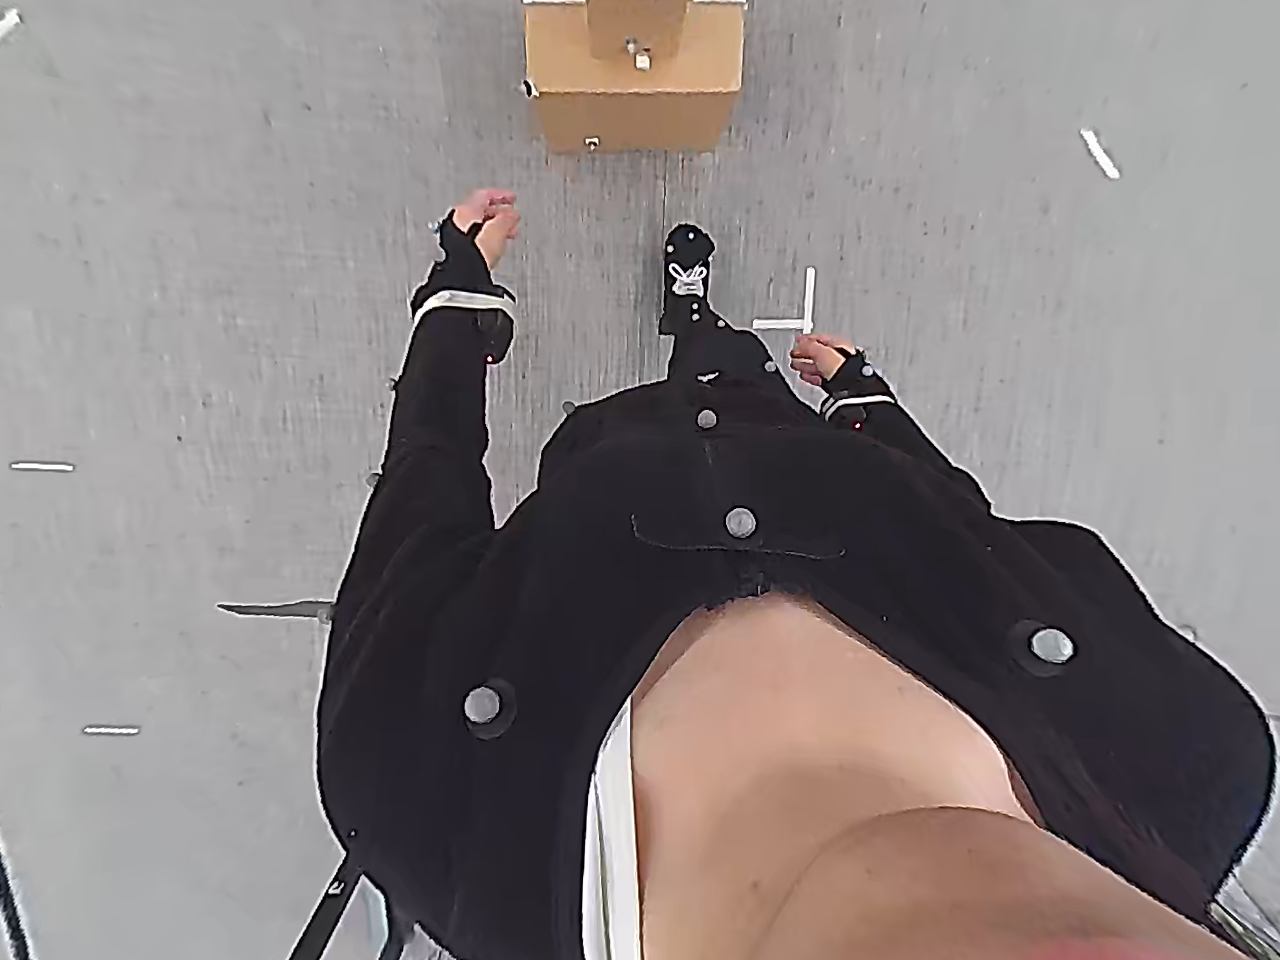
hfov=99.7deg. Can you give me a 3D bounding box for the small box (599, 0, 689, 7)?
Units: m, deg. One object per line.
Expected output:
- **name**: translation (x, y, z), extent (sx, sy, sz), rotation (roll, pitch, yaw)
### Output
- **small box**: translation (0.000, -0.809, 0.756), extent (0.168, 0.176, 0.179), rotation (-3, 102, -3)

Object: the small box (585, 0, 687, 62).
- **small box**: translation (-0.011, -0.850, 0.912), extent (0.168, 0.176, 0.179), rotation (-1, 104, -2)
